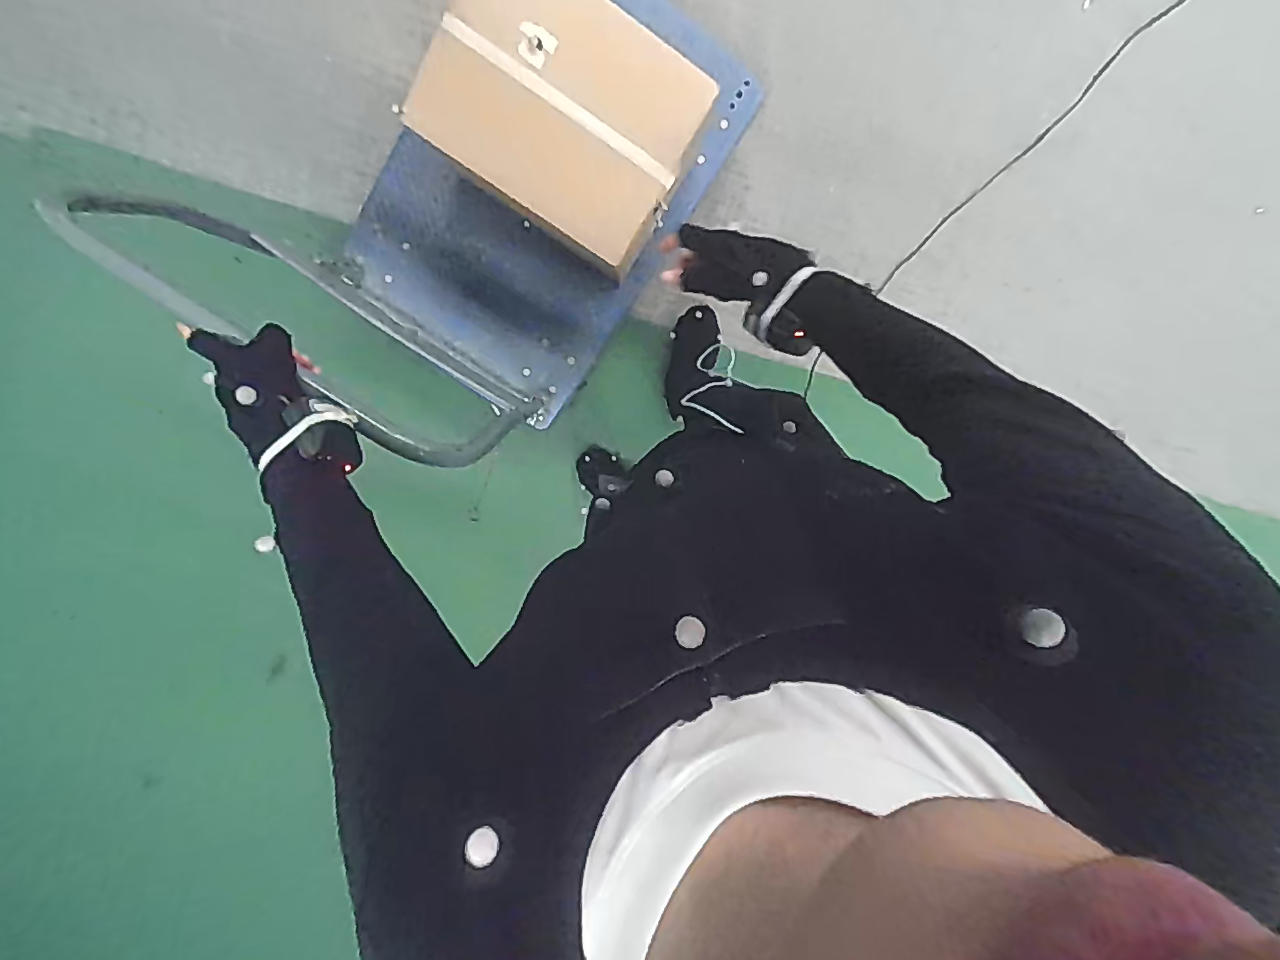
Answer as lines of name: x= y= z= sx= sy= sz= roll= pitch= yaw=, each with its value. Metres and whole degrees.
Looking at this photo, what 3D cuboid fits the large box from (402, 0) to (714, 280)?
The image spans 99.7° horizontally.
large box: x=-0.126 y=-0.618 z=0.986 sx=0.408 sy=0.320 sz=0.320 roll=32 pitch=102 yaw=-7
